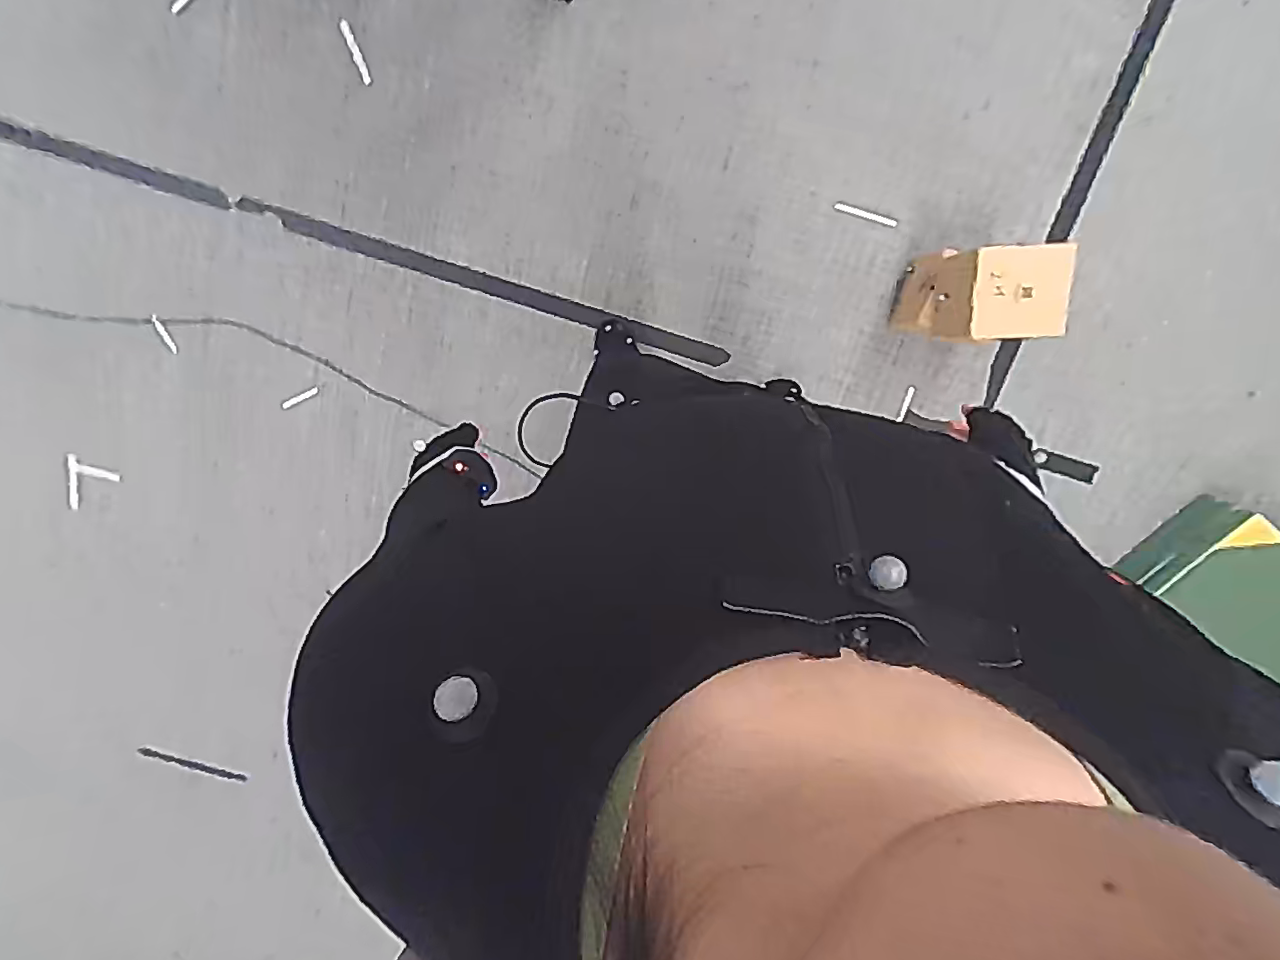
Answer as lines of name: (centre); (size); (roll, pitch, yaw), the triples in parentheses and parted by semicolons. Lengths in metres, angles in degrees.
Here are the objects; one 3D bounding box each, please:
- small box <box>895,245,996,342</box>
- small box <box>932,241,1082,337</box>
small box: (0.723, -0.422, 1.247); (0.179, 0.176, 0.168); (15, 106, -1)
small box: (0.723, -0.378, 1.087); (0.179, 0.176, 0.168); (4, 105, 6)
